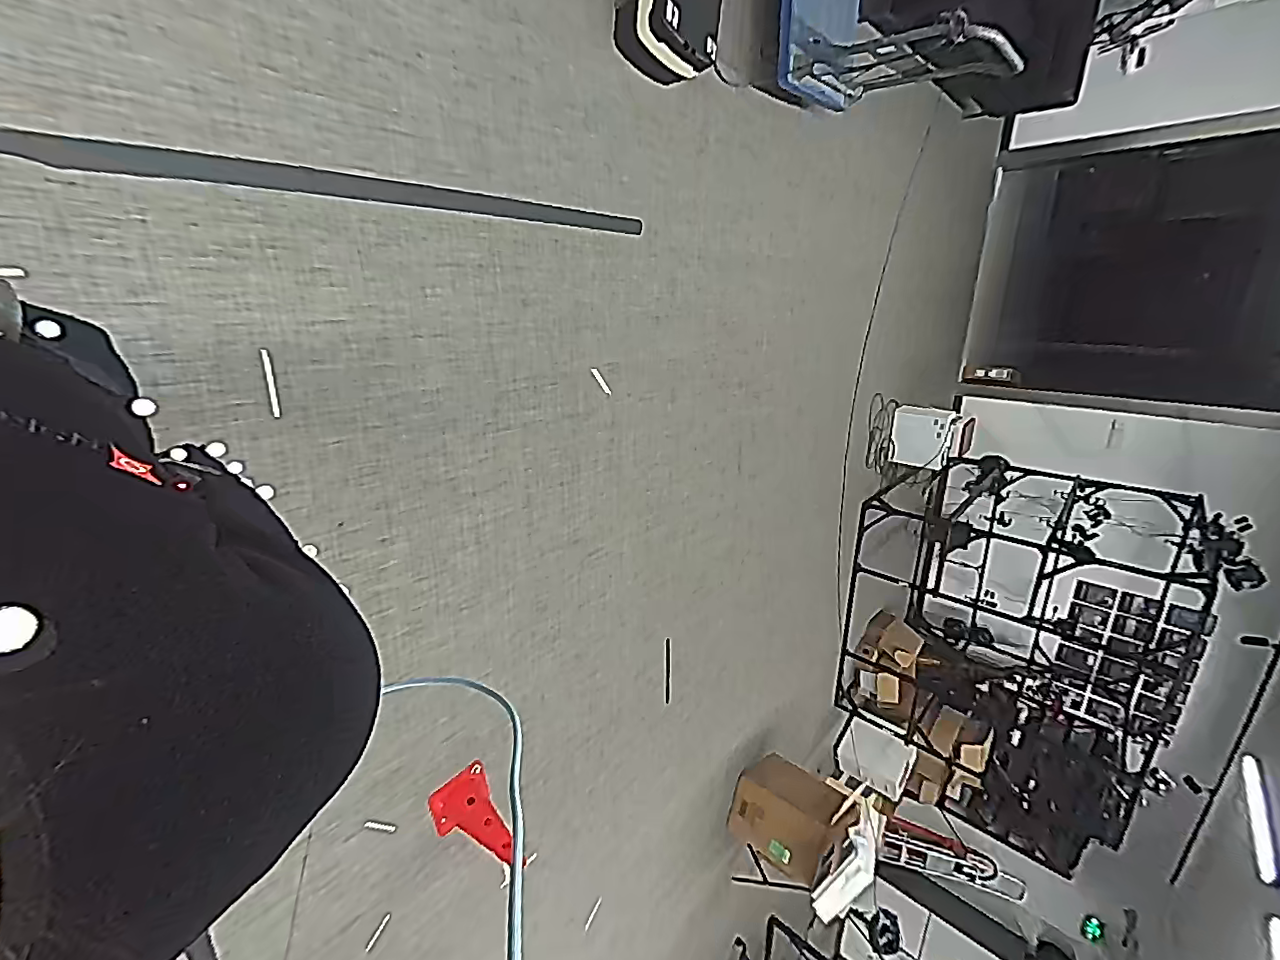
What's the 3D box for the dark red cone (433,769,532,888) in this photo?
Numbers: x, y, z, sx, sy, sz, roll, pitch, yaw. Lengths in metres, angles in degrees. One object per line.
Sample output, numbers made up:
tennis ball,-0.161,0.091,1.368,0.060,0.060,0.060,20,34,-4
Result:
dark red cone,-0.474,1.137,1.717,0.201,0.394,0.202,-27,122,-40
